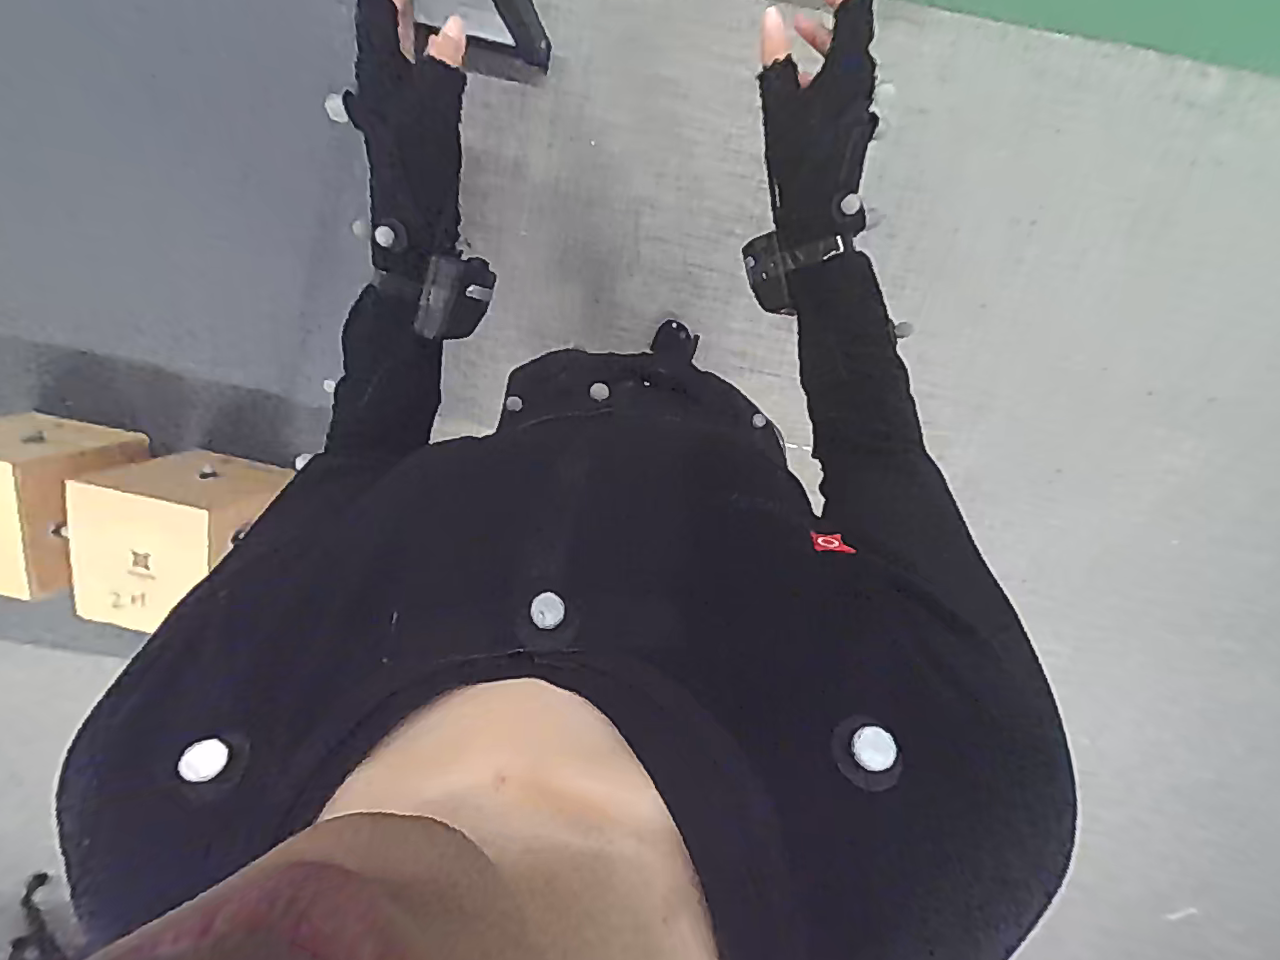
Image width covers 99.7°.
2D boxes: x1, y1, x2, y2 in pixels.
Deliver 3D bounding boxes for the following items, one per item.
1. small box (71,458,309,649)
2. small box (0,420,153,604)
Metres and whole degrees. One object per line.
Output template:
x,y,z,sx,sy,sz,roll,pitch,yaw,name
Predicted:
-0.555,0.081,0.691,0.168,0.176,0.179,12,106,2,small box
-0.773,0.030,0.695,0.168,0.176,0.179,11,107,0,small box
